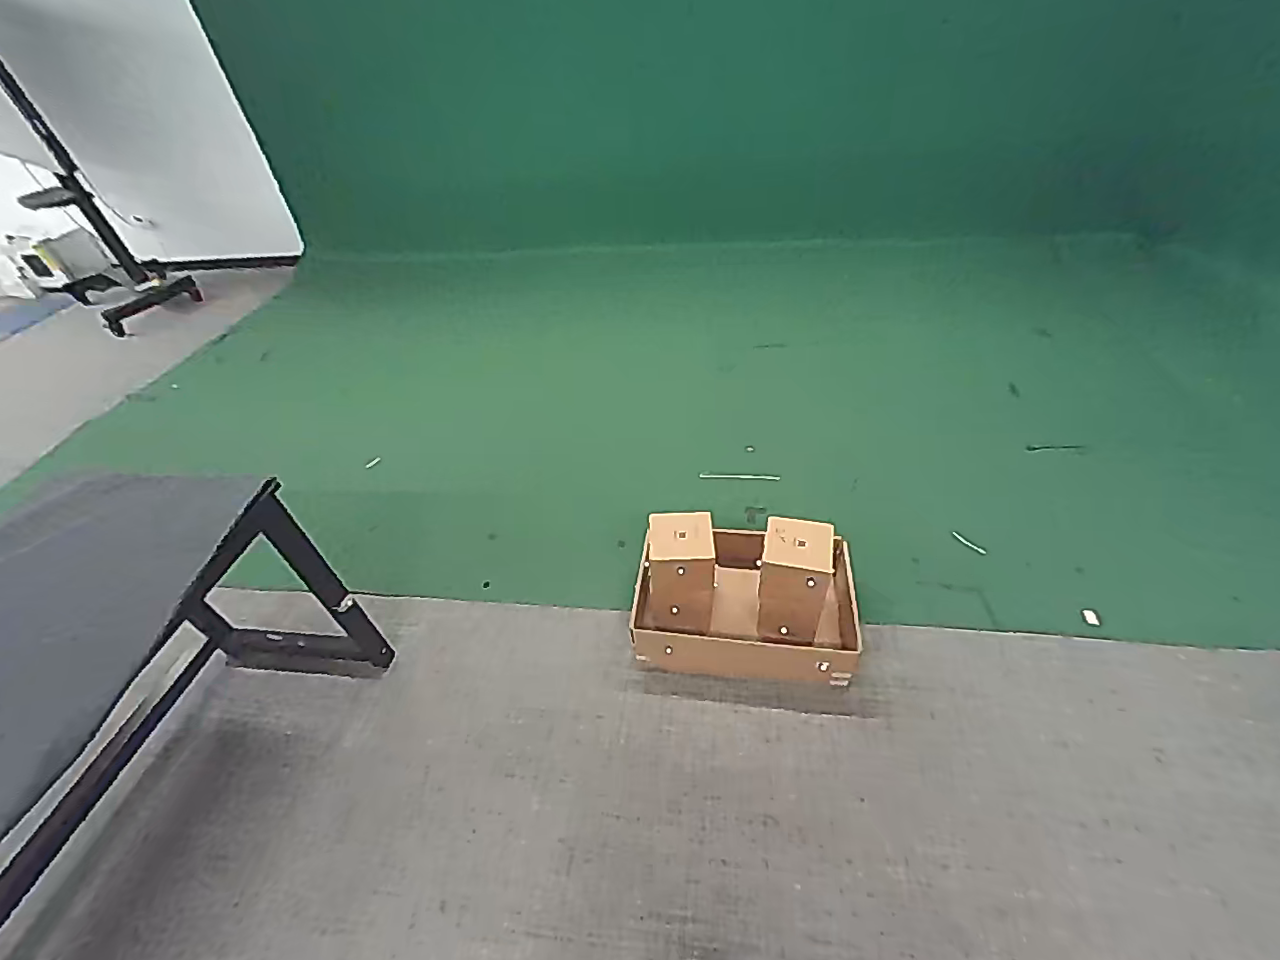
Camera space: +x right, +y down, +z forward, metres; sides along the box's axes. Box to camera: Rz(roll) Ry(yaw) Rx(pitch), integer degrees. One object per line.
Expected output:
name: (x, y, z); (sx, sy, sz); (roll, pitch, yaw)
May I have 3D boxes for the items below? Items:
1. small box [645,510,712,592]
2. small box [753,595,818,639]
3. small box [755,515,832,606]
small box: (0.107, 0.201, 1.517); (0.179, 0.176, 0.168); (-2, 45, 1)
small box: (0.428, 0.336, 1.585); (0.168, 0.176, 0.179); (8, 46, 15)
small box: (0.415, 0.221, 1.468); (0.179, 0.176, 0.168); (8, 45, 15)
